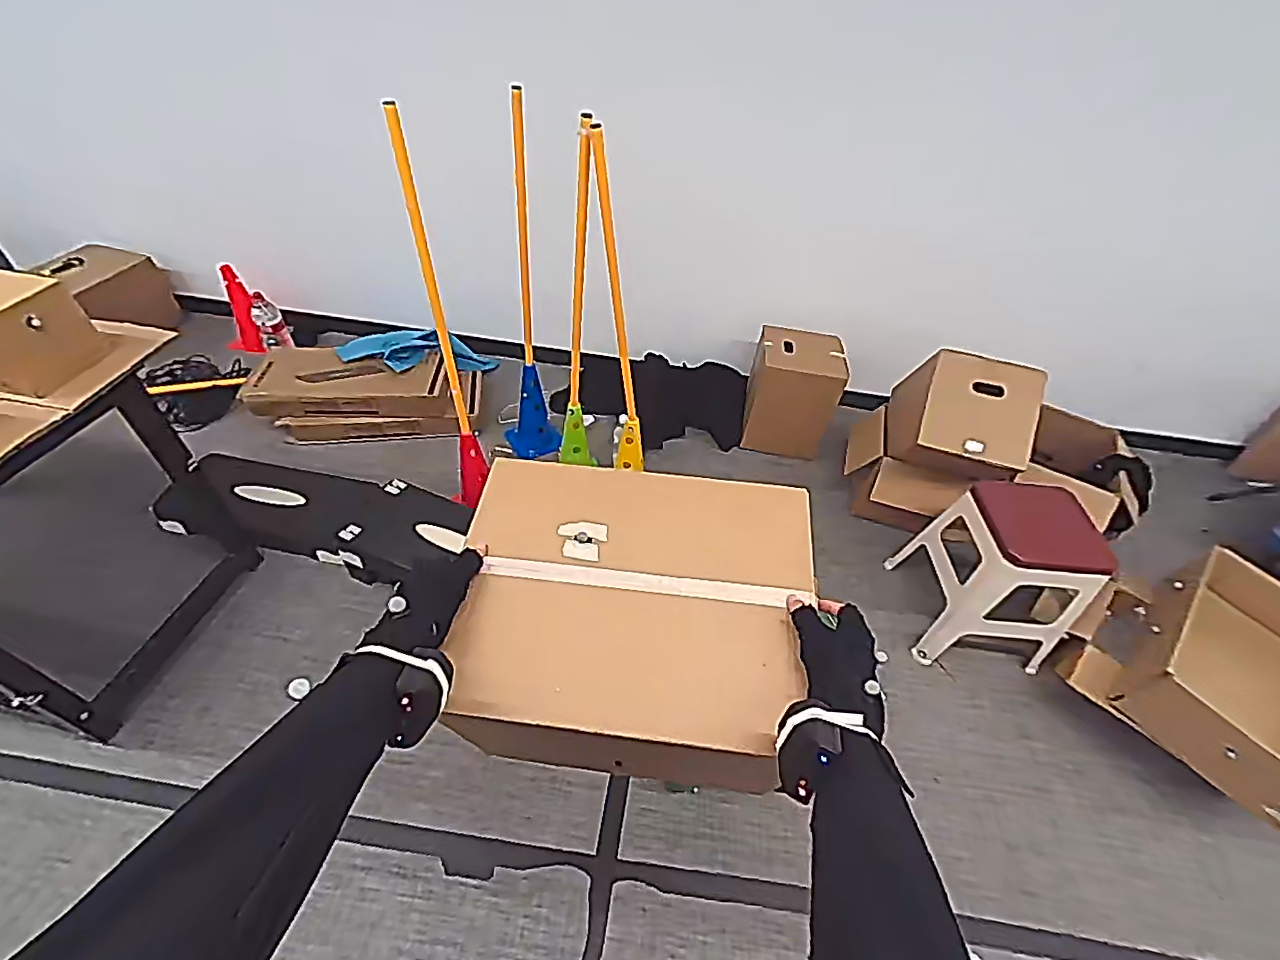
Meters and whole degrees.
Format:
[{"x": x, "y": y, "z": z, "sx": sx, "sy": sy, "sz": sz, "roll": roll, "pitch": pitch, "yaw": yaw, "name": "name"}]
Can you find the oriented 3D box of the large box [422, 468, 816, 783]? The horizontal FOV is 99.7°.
[{"x": -0.007, "y": 0.209, "z": 0.741, "sx": 0.408, "sy": 0.320, "sz": 0.320, "roll": 6, "pitch": 55, "yaw": 4, "name": "large box"}]
